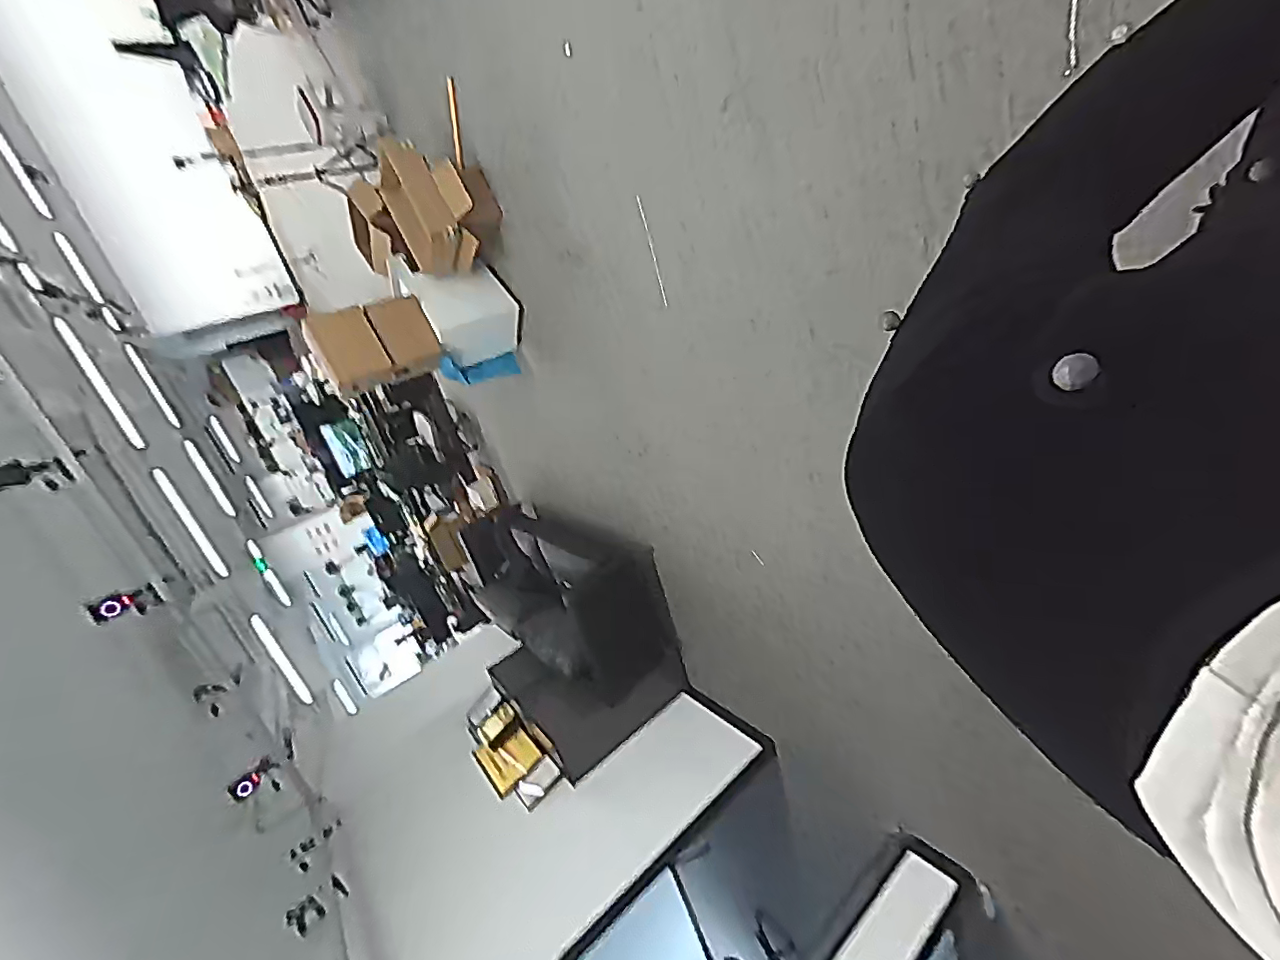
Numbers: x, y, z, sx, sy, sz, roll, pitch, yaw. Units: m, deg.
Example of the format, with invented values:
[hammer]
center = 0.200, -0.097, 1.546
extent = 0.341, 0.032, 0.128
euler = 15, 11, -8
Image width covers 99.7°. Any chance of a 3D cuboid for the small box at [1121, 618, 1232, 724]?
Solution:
[small box]
center = 1.403, 0.490, 1.424
extent = 0.179, 0.176, 0.168
euler = 16, 130, 52
